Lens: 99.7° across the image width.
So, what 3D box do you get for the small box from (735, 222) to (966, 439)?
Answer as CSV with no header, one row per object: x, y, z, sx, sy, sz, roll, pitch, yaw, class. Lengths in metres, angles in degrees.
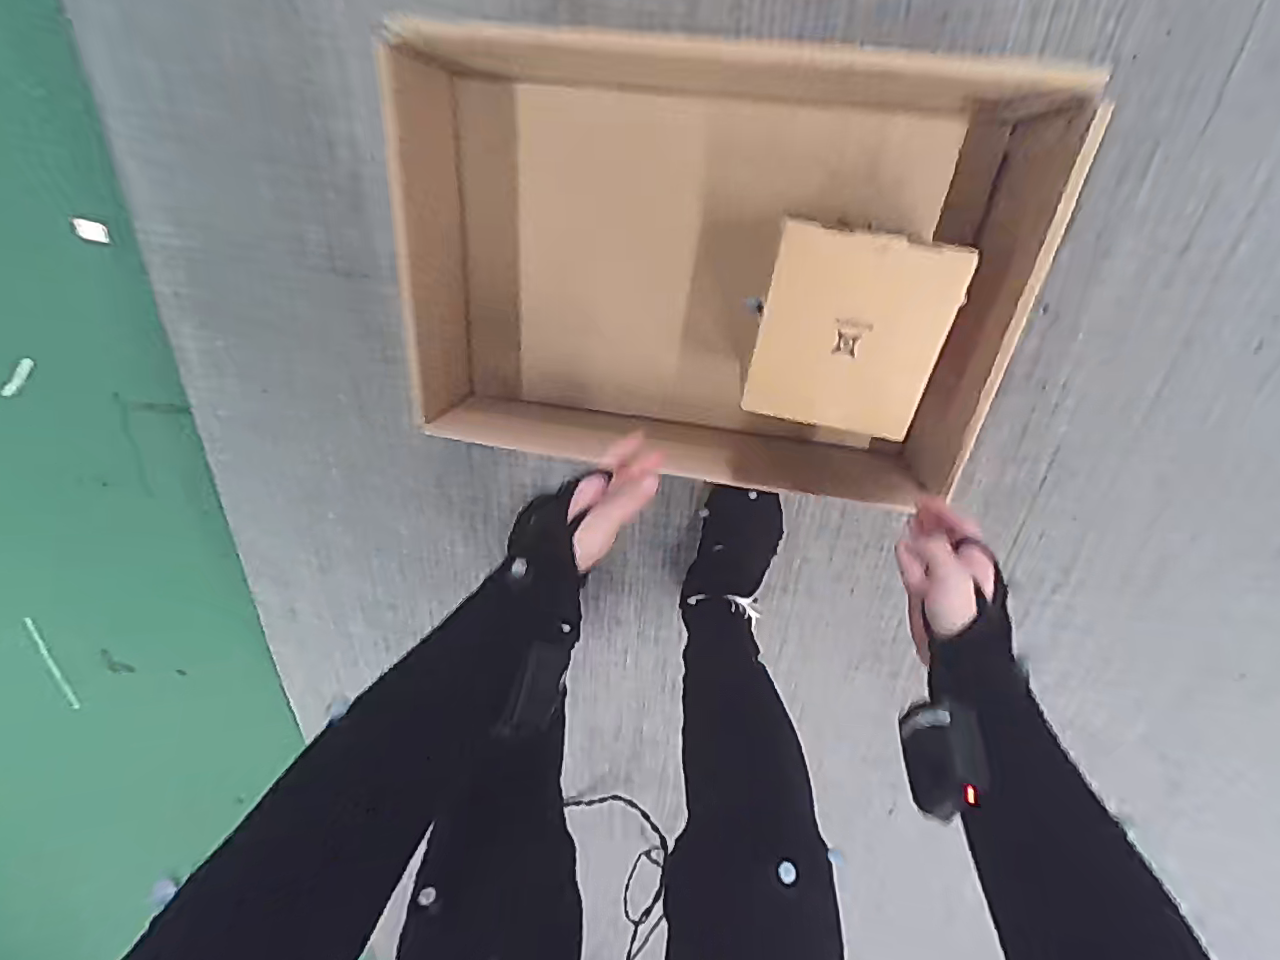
0.204,-0.167,0.577,0.168,0.176,0.179,12,117,5,small box
